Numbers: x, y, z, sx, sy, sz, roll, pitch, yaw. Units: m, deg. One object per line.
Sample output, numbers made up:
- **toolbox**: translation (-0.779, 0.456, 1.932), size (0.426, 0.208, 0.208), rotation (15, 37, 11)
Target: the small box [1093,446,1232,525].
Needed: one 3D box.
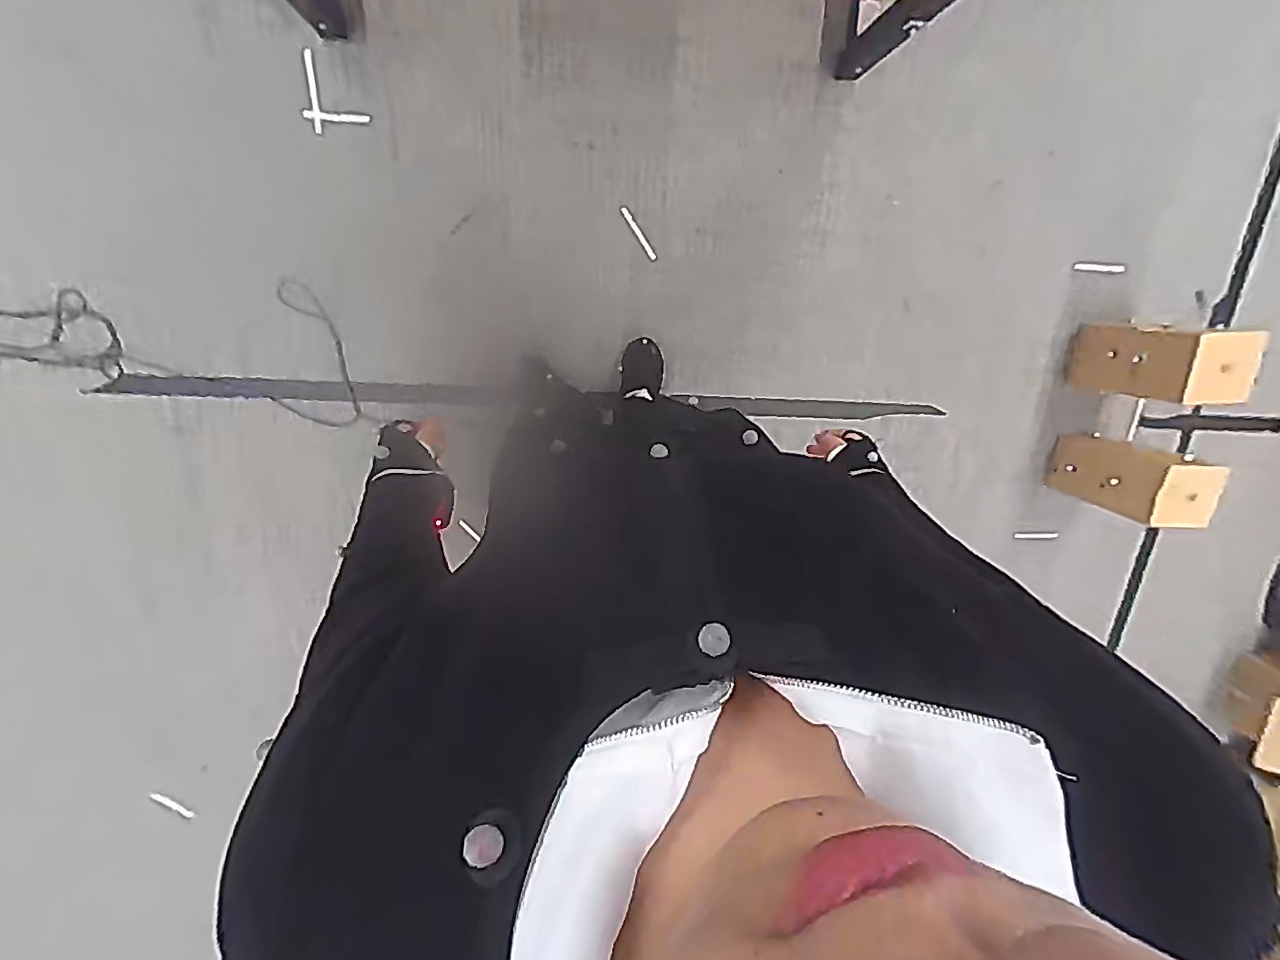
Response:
- **small box**: translation (1.362, 0.011, 1.421), size (0.179, 0.176, 0.168), rotation (1, 108, -6)

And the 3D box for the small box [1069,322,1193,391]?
- **small box**: translation (1.326, -0.340, 1.476), size (0.168, 0.176, 0.179), rotation (-2, 109, -6)

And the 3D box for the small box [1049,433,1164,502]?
- **small box**: translation (1.351, -0.038, 1.580), size (0.179, 0.176, 0.168), rotation (0, 108, -6)

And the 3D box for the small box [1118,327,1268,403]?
- **small box**: translation (1.340, -0.286, 1.323), size (0.179, 0.176, 0.168), rotation (-4, 107, -4)
